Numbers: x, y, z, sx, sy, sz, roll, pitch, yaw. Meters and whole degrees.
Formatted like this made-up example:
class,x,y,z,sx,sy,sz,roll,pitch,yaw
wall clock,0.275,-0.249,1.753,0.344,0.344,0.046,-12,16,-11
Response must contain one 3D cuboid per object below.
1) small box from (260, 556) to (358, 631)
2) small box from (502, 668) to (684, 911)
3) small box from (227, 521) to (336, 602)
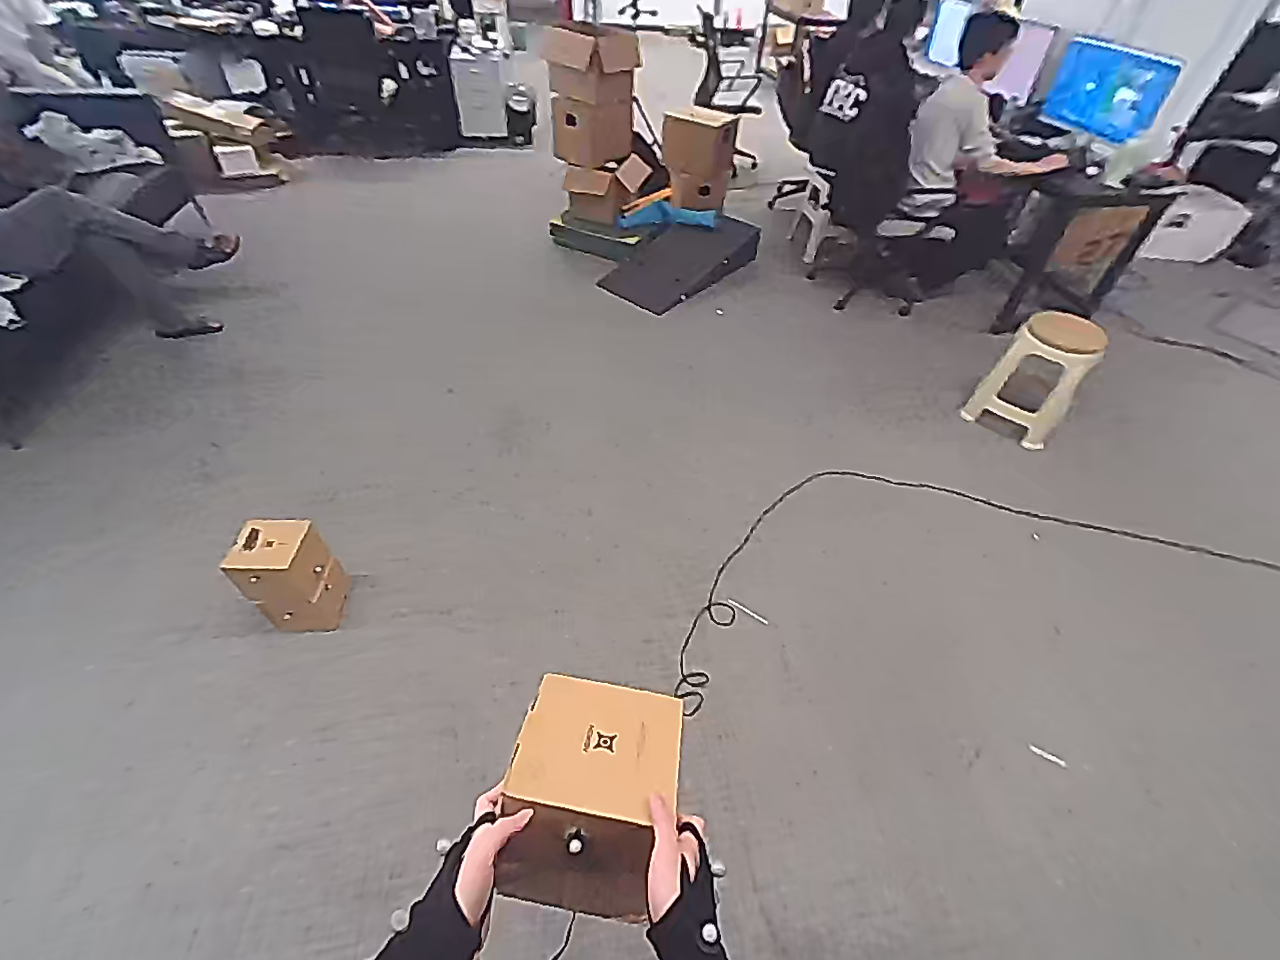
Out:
class,x,y,z,sx,sy,sz,roll,pitch,yaw
small box,-1.001,0.349,1.651,0.179,0.176,0.168,0,45,-3
small box,-0.052,0.353,0.627,0.179,0.176,0.168,11,24,2
small box,-1.004,0.232,1.534,0.179,0.176,0.168,2,46,-3
